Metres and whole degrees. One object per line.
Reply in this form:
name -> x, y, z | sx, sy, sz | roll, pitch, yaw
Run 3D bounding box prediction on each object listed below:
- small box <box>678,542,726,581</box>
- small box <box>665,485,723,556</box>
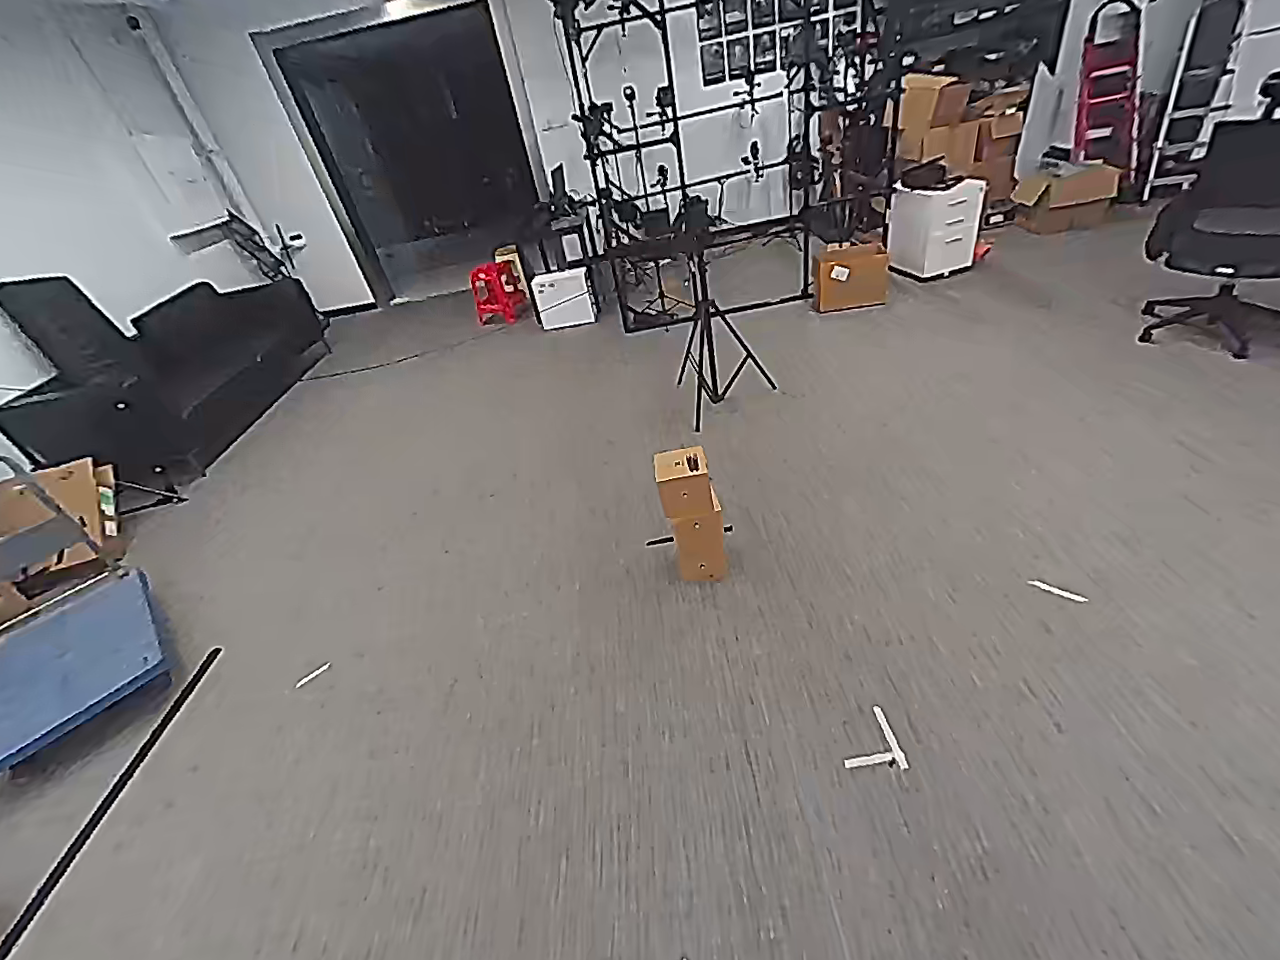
small box -> 0.234, 0.272, 2.065 | 0.168, 0.176, 0.179 | -8, 35, 6
small box -> 0.199, 0.149, 1.964 | 0.179, 0.176, 0.168 | -14, 35, 0
